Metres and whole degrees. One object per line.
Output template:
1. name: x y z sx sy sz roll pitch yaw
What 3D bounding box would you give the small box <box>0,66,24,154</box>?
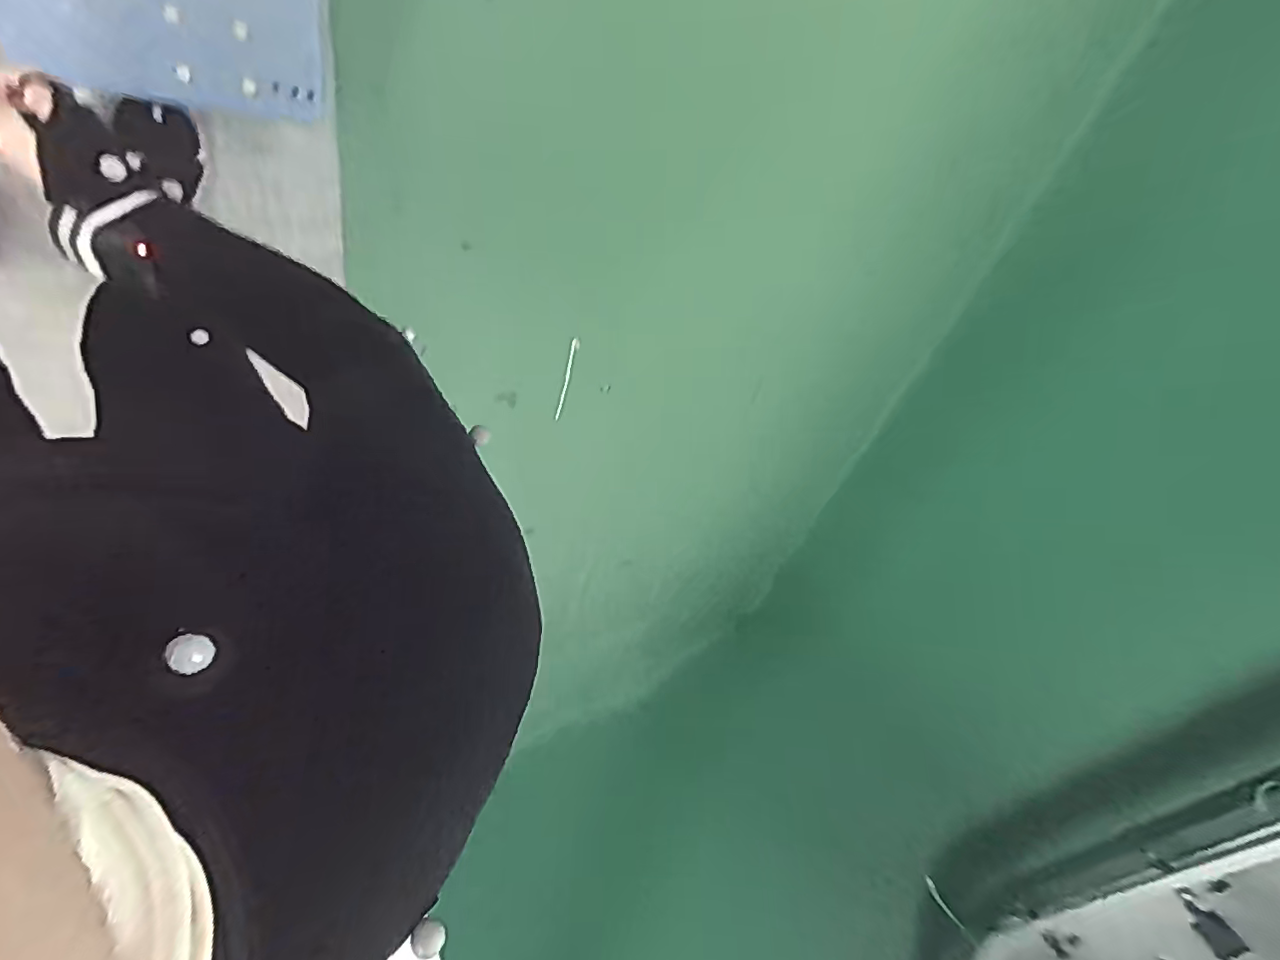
1. small box: -0.628 -0.365 0.412 0.168 0.176 0.179 -17 121 -37

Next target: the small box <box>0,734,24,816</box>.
1. small box: -1.837 0.828 1.478 0.168 0.176 0.179 -10 136 -37
